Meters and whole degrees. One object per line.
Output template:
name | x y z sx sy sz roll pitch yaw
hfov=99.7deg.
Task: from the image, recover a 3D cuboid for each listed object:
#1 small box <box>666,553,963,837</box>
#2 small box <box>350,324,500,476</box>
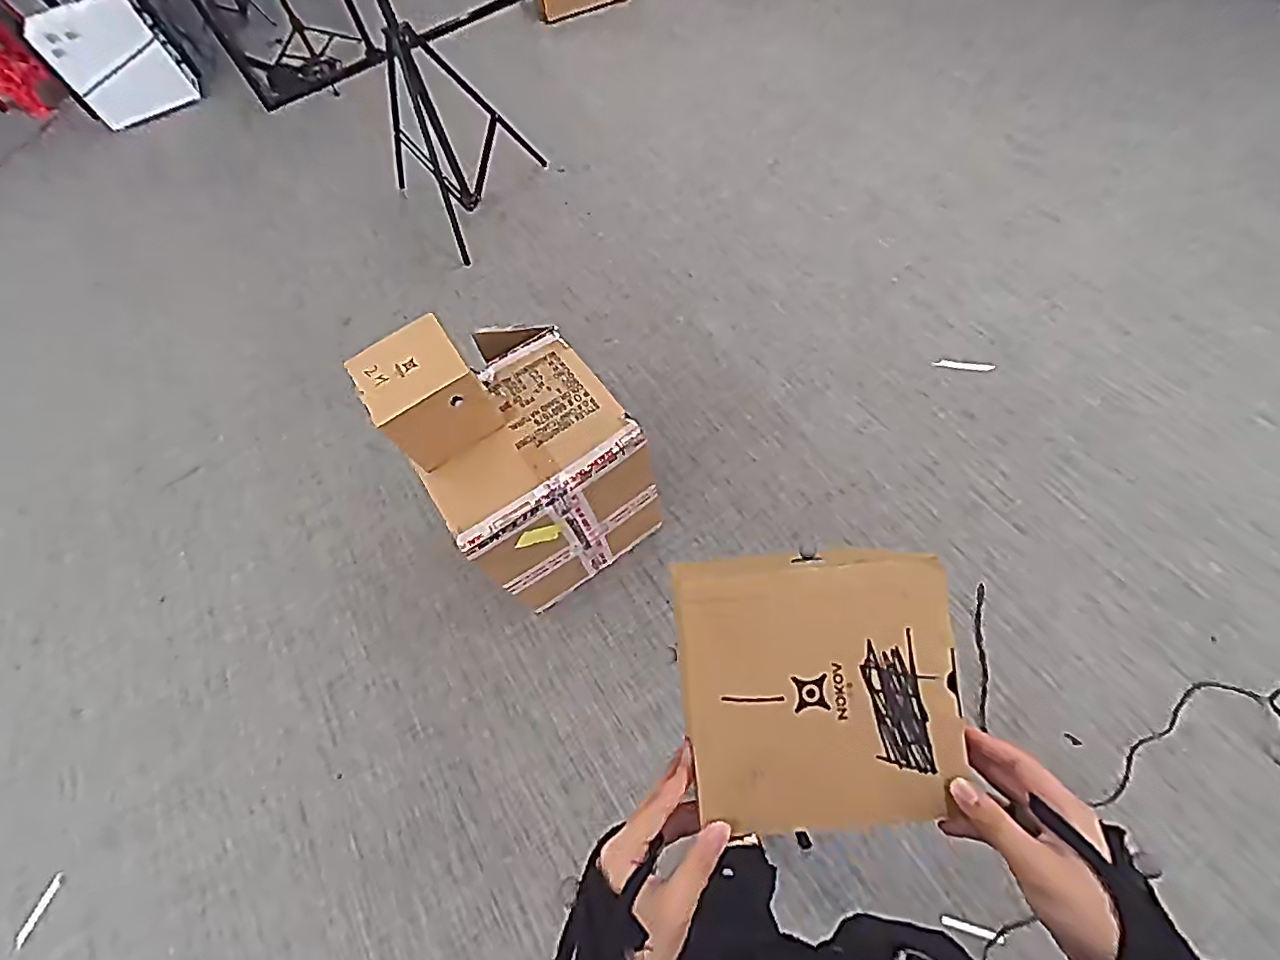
small box | 0.117 0.150 0.435 0.179 0.176 0.168 -6 84 1
small box | -0.377 -0.139 0.982 0.179 0.176 0.168 -33 64 -7
